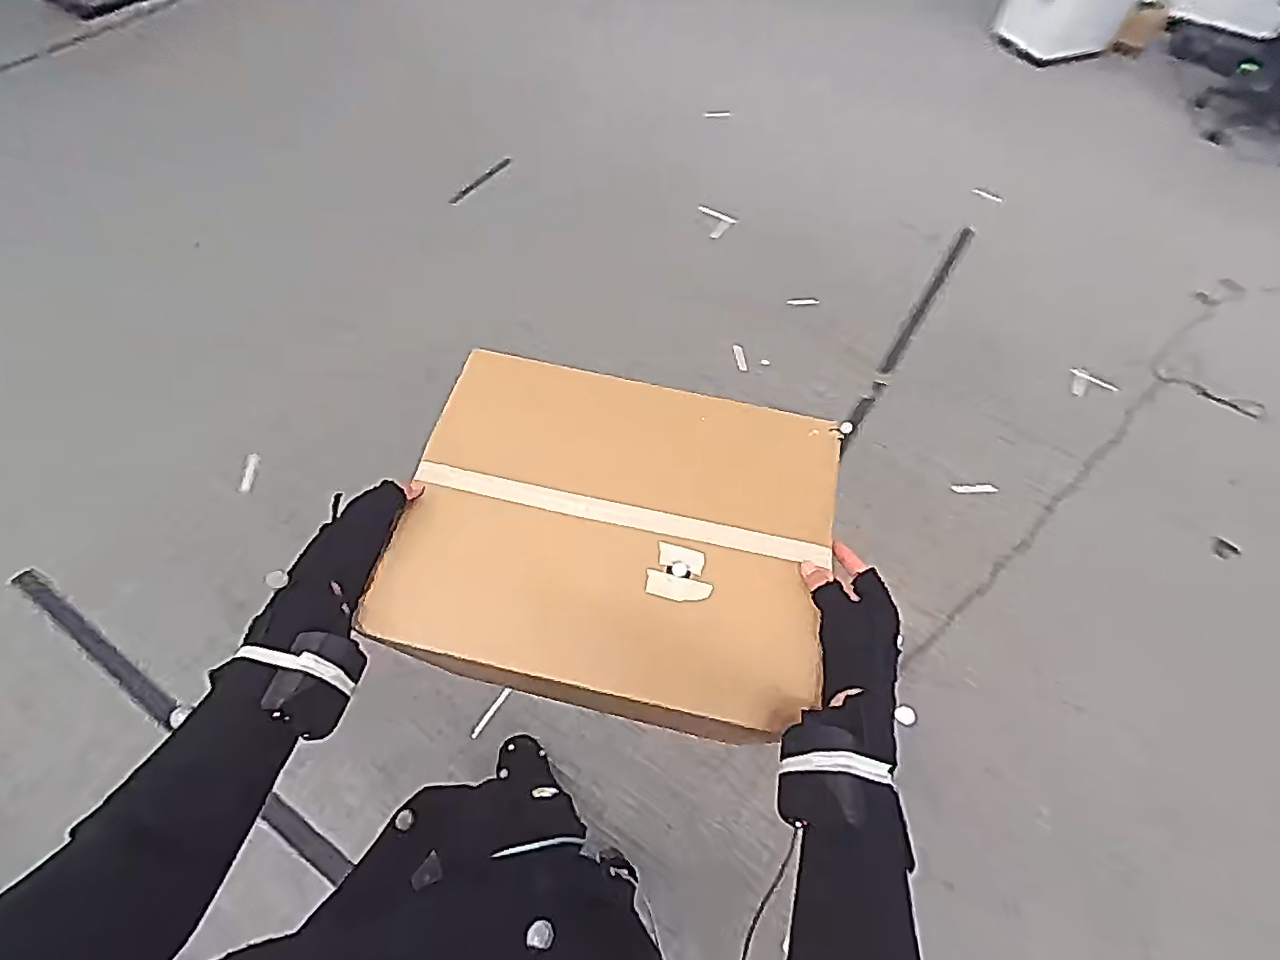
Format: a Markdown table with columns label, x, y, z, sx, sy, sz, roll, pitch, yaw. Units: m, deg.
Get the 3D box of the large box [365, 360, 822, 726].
| label | x | y | z | sx | sy | sz | roll | pitch | yaw |
| --- | --- | --- | --- | --- | --- | --- | --- | --- | --- |
| large box | -0.032 | 0.098 | 0.665 | 0.408 | 0.320 | 0.320 | 11 | 65 | 2 |
